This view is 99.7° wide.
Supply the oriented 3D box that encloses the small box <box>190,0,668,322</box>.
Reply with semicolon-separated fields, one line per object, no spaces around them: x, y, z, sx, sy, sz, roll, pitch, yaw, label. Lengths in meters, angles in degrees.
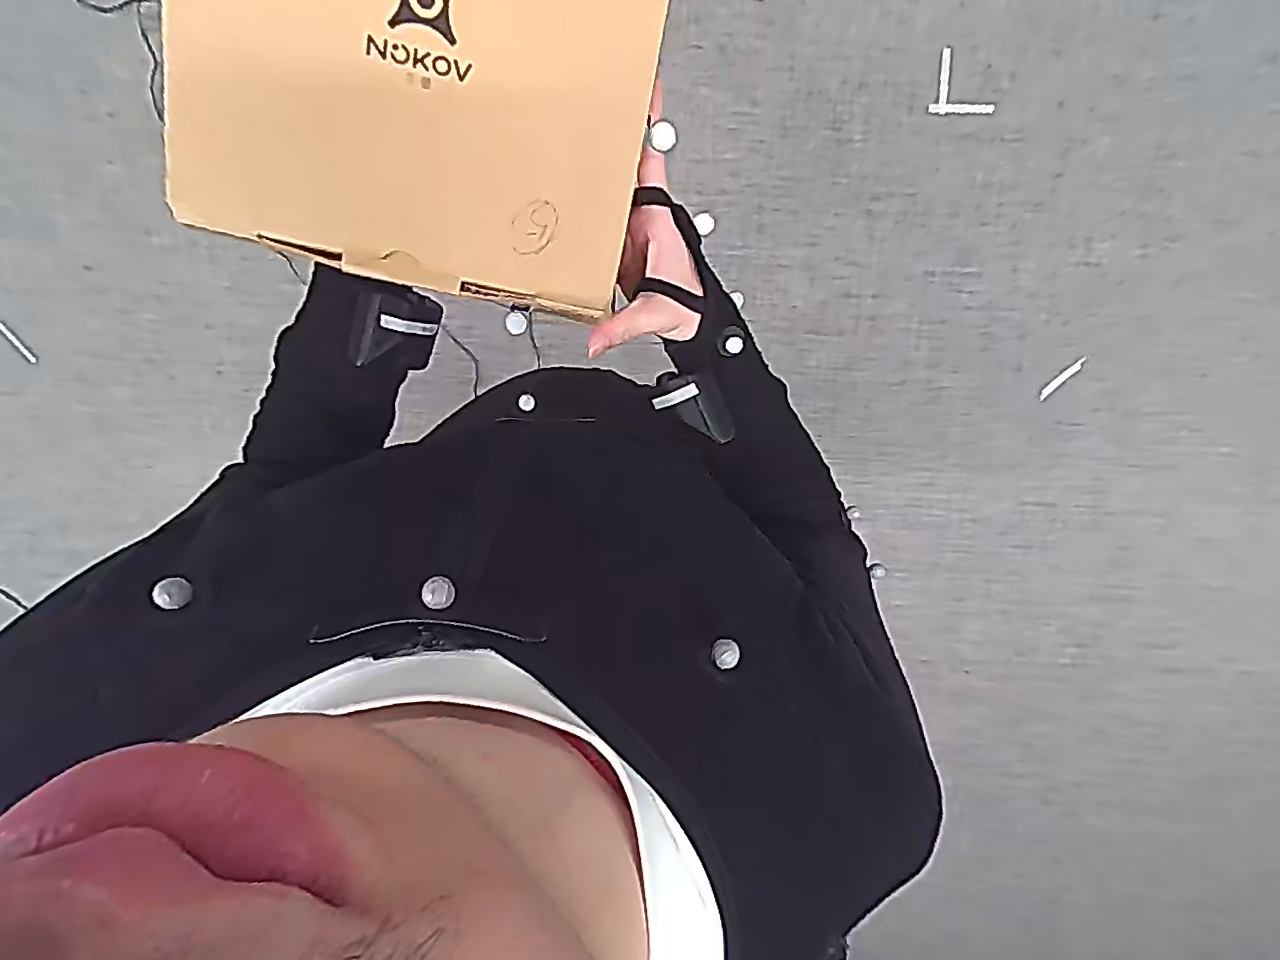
-0.083;-0.185;0.278;0.168;0.176;0.179;10;103;-9;small box
